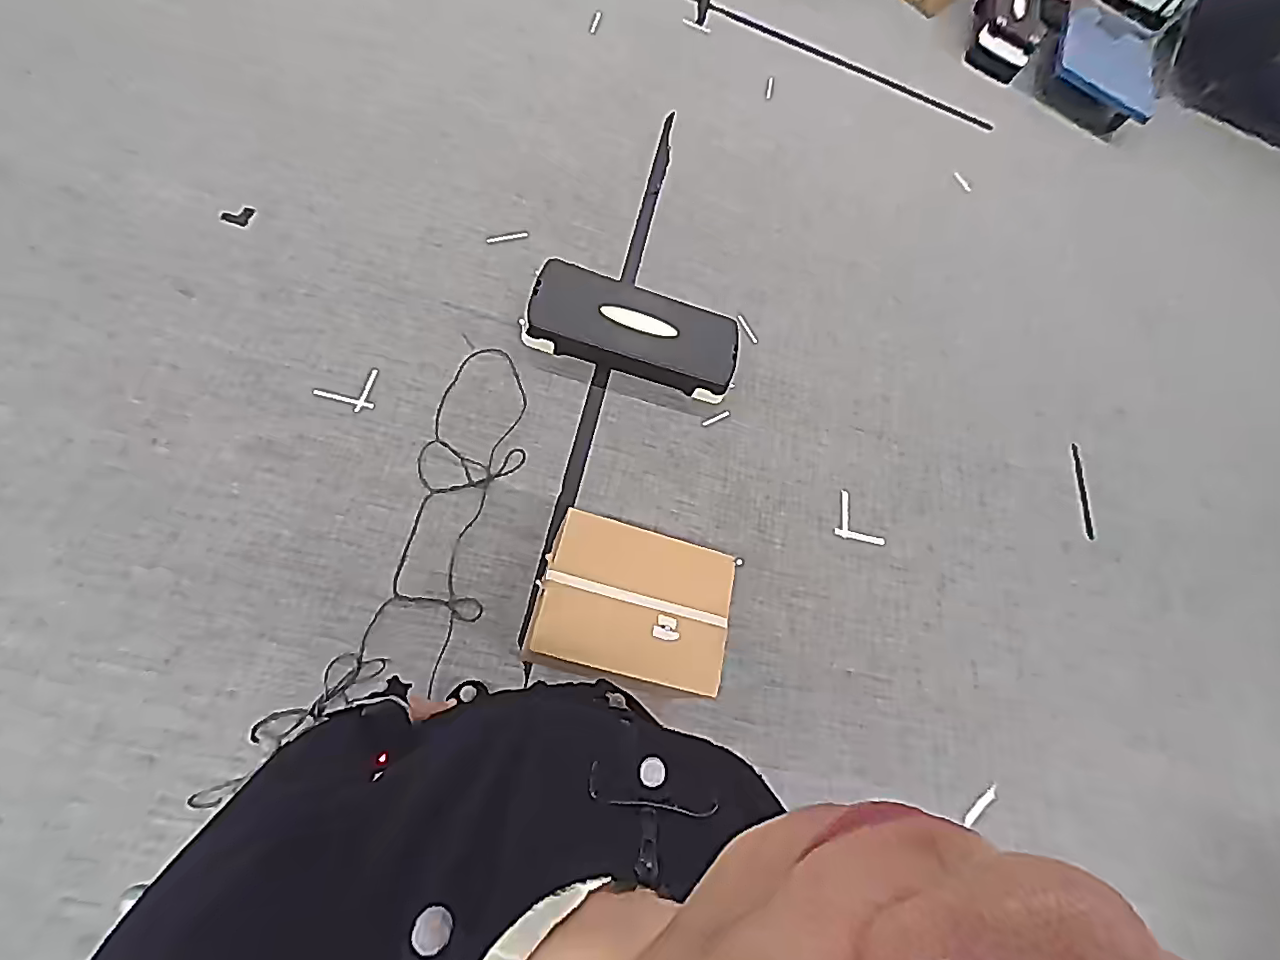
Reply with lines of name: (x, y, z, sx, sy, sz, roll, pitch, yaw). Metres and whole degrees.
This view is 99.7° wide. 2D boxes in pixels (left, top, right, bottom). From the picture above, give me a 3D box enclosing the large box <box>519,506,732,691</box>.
large box: (-0.044, 0.297, 1.279, 0.408, 0.320, 0.320, 18, 66, -10)
